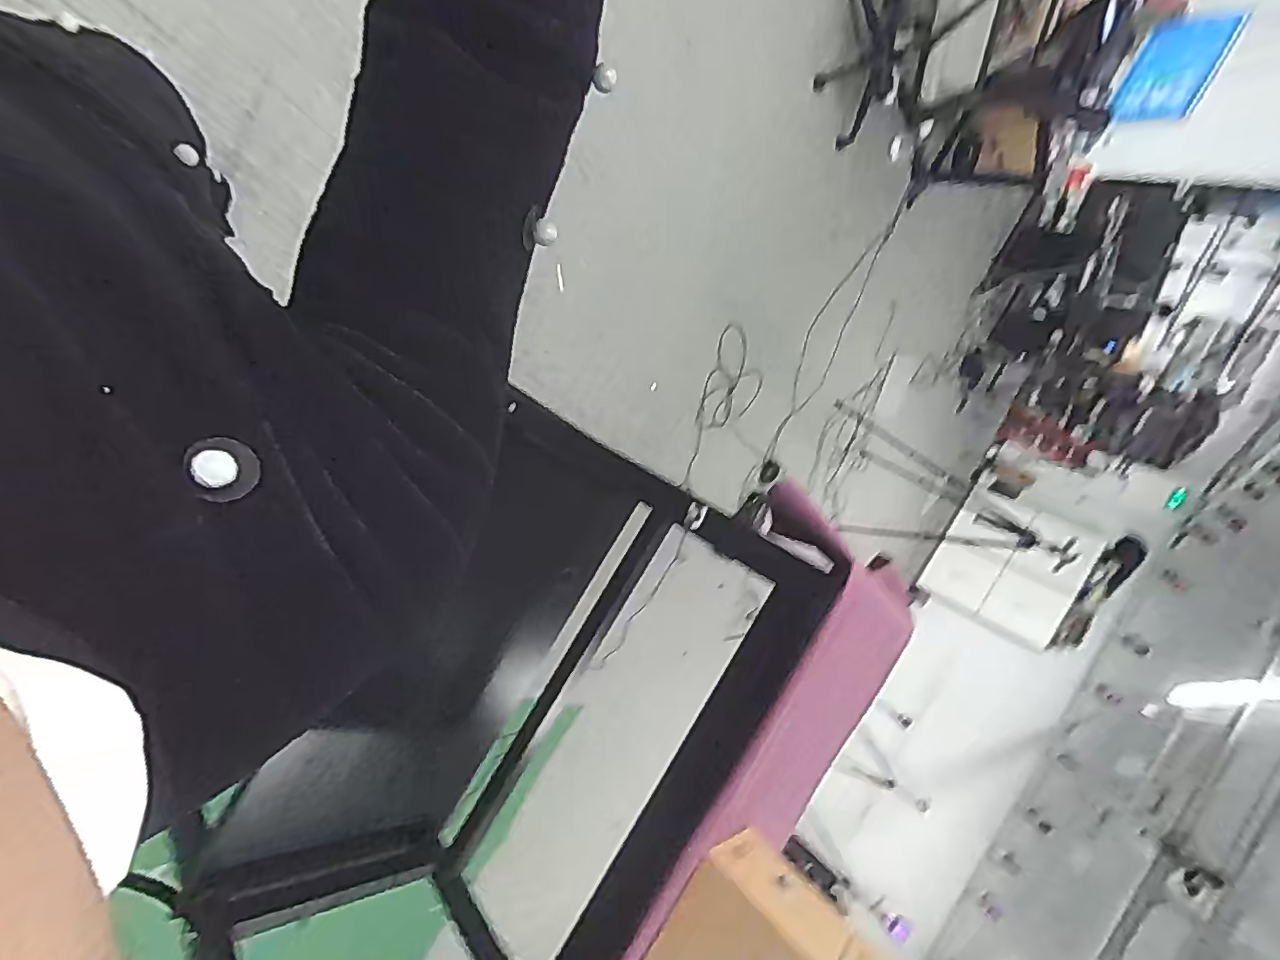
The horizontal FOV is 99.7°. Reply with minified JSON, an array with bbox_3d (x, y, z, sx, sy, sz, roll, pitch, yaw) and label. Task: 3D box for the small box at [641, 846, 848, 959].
[{"bbox_3d":[0.123,0.587,0.662,0.179,0.176,0.168,-57,142,-3],"label":"small box"}]
